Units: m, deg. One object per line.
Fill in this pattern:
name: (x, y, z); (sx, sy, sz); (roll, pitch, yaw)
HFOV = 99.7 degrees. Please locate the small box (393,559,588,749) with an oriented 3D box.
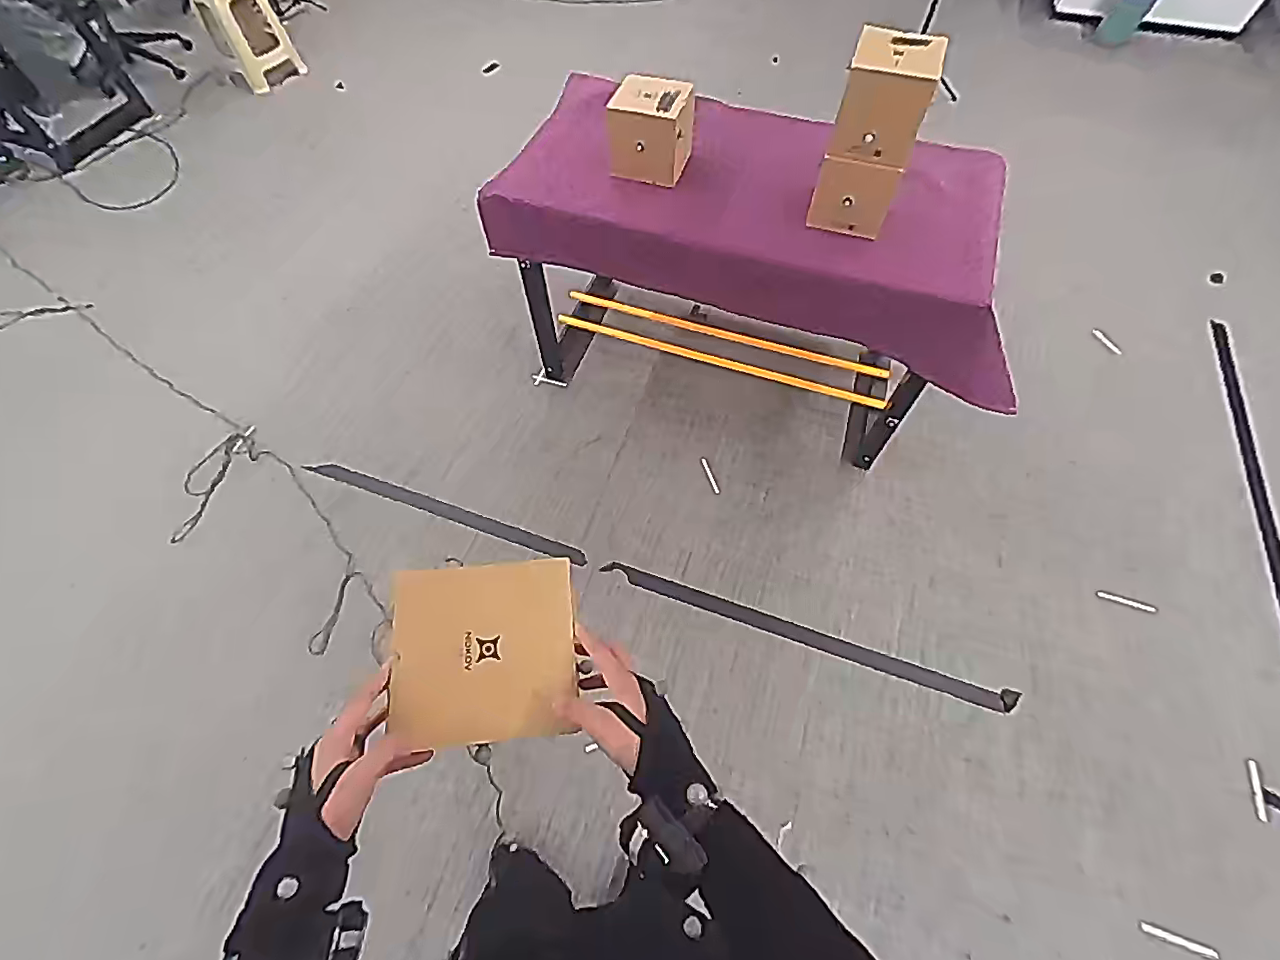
small box: (-0.148, 0.191, 0.594); (0.179, 0.176, 0.168); (-4, 68, -5)

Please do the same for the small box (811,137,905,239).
small box: (0.508, -0.692, 1.253); (0.168, 0.176, 0.179); (17, 62, 10)

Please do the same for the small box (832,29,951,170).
small box: (0.511, -0.779, 1.113); (0.168, 0.176, 0.179); (18, 63, 11)
